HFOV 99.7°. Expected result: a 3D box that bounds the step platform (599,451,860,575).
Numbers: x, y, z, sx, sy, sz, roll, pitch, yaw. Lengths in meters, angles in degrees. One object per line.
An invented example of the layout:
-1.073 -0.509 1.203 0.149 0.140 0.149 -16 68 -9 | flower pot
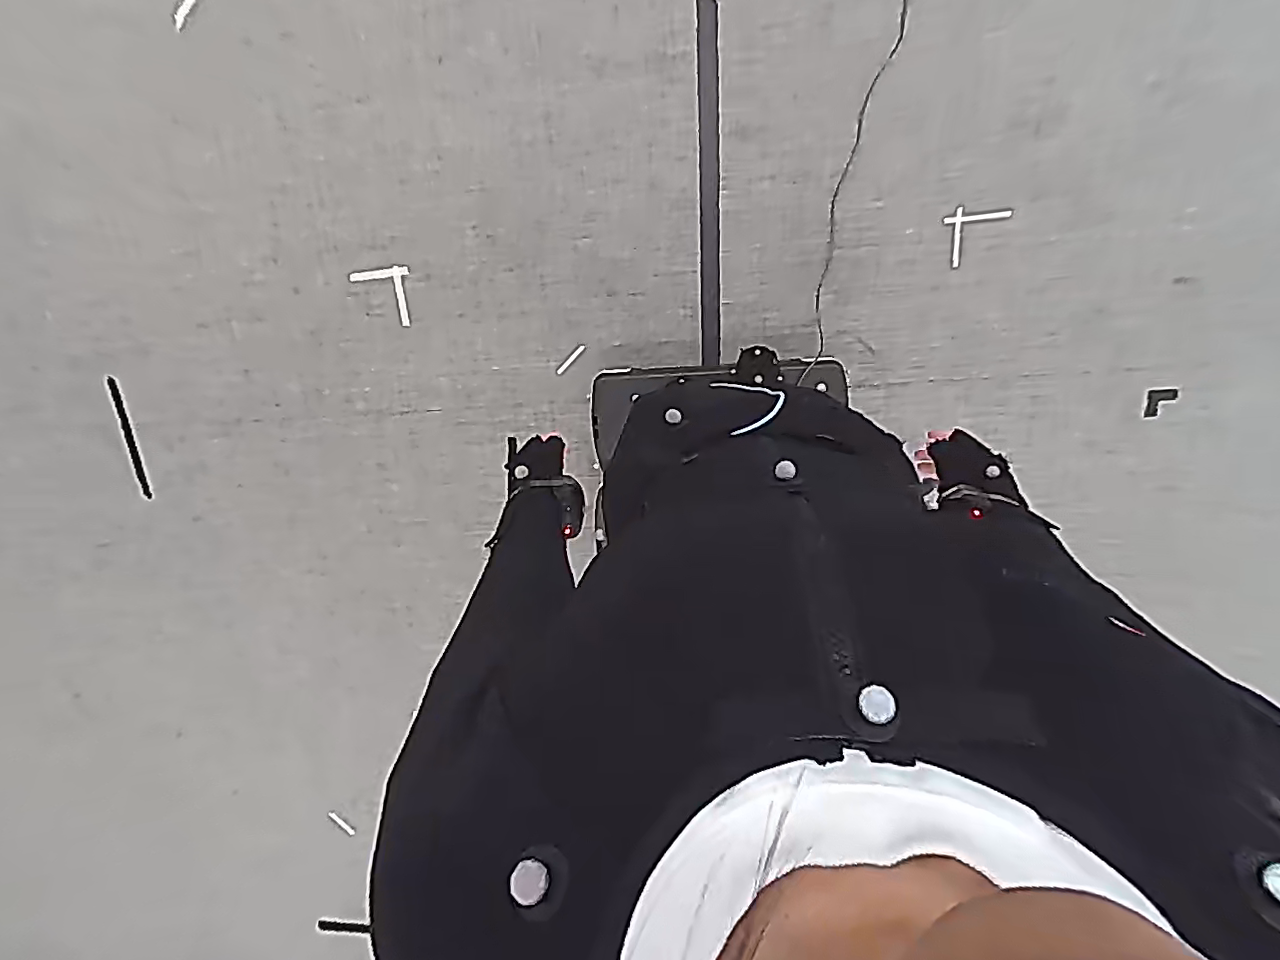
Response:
0.231 0.094 1.471 0.684 0.204 0.286 -3 104 8 | step platform
